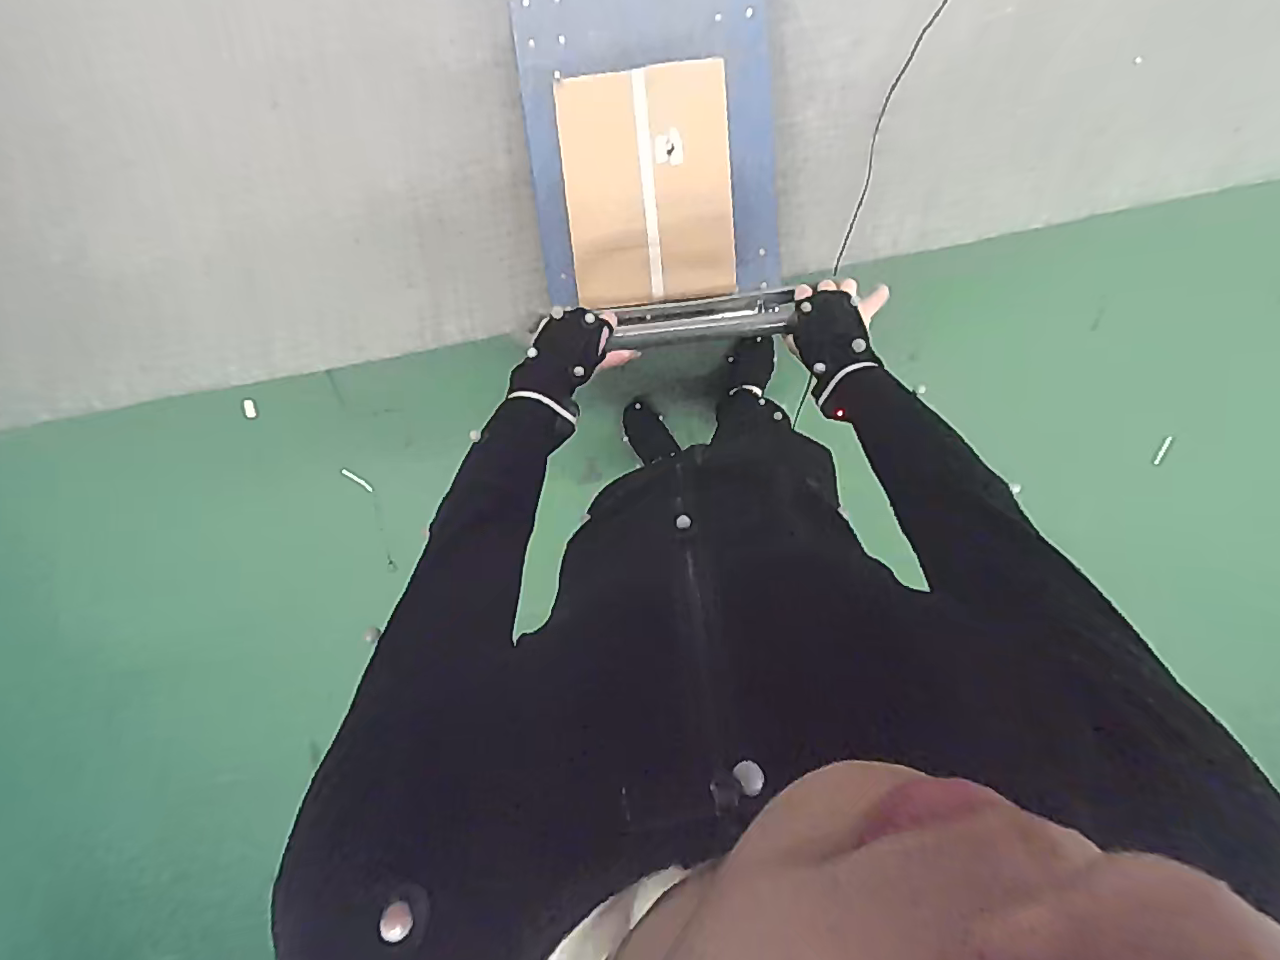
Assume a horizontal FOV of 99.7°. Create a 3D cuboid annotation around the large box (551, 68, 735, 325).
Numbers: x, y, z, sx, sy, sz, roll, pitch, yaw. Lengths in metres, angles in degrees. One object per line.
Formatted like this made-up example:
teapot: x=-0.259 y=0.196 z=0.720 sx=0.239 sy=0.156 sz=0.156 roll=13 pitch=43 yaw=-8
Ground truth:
large box: x=0.015 y=-0.569 z=1.171 sx=0.320 sy=0.320 sz=0.408 roll=-6 pitch=102 yaw=2
